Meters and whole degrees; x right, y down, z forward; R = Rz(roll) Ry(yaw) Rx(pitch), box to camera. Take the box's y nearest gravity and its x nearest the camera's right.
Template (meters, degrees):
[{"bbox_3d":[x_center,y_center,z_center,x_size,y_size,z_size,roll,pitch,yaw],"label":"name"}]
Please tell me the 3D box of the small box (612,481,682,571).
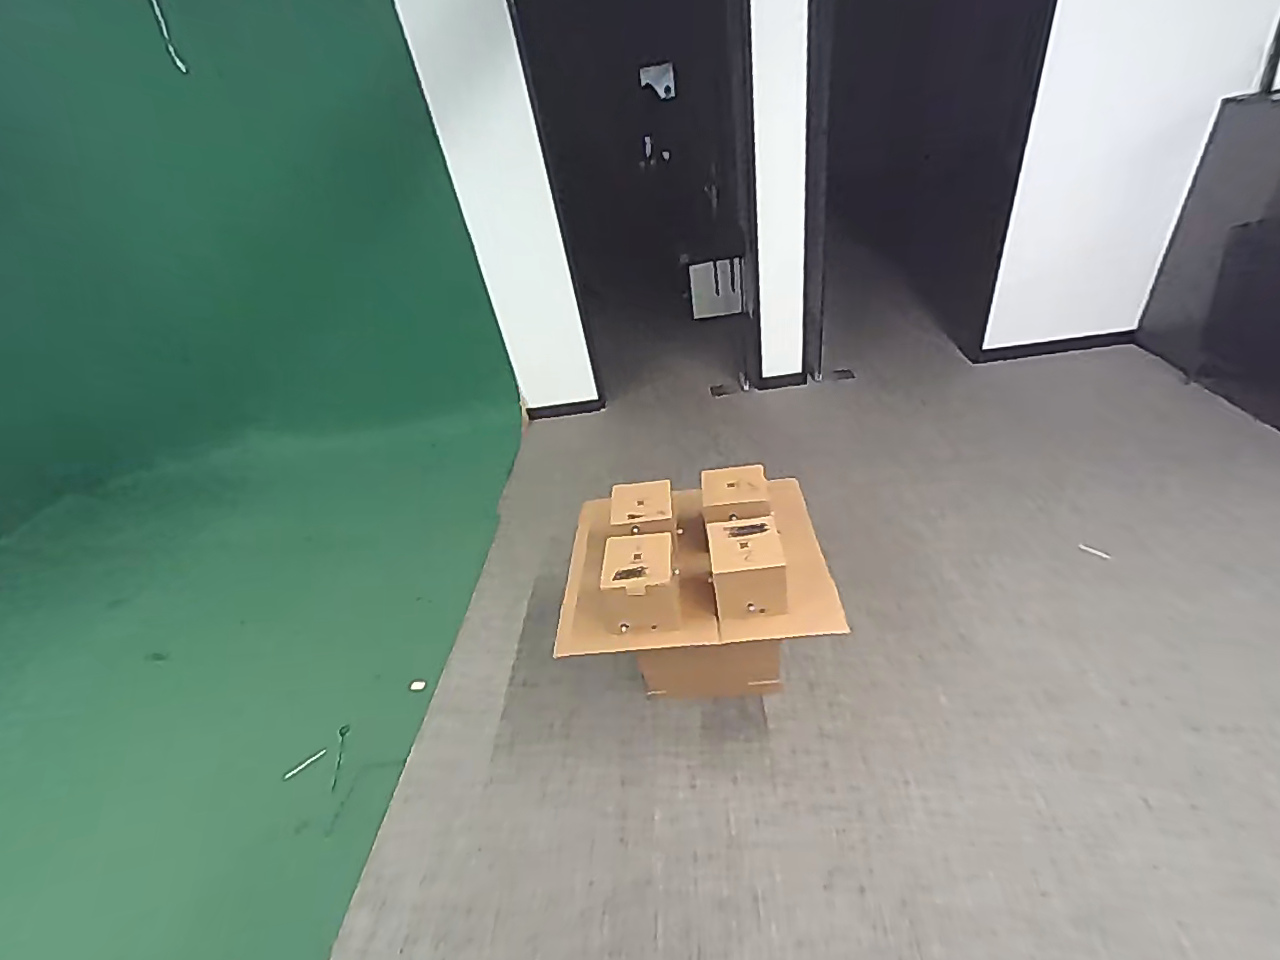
[{"bbox_3d":[0.024,0.129,1.513,0.168,0.176,0.179,-9,34,7],"label":"small box"}]
